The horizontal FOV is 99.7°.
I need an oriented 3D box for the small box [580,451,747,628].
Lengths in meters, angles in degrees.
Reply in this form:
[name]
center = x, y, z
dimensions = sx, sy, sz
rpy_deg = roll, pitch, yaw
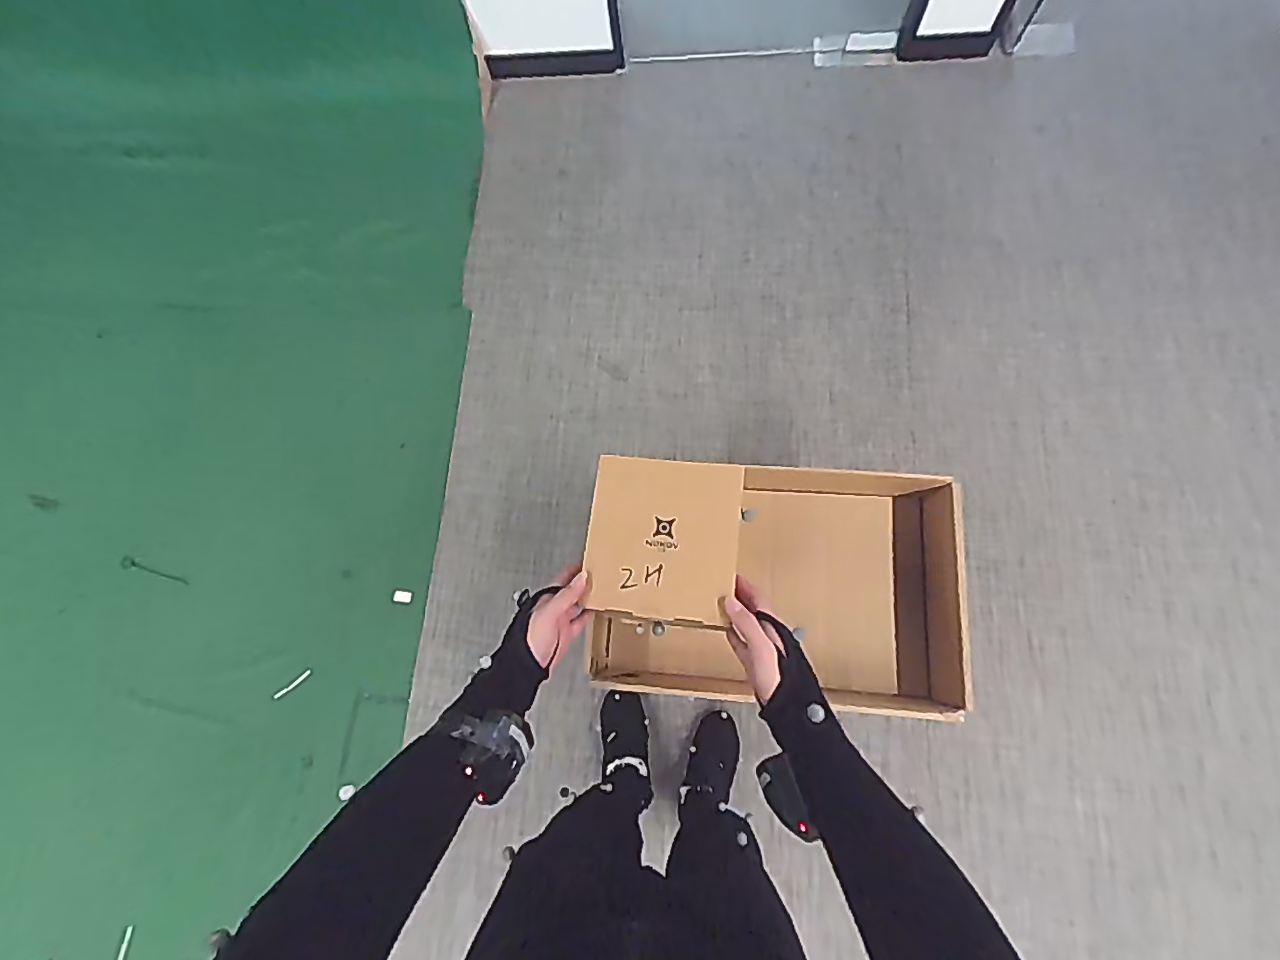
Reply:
[small box]
center = 0.034, 0.080, 0.665
dimensions = 0.168, 0.176, 0.179
rpy_deg = 6, 74, 8
